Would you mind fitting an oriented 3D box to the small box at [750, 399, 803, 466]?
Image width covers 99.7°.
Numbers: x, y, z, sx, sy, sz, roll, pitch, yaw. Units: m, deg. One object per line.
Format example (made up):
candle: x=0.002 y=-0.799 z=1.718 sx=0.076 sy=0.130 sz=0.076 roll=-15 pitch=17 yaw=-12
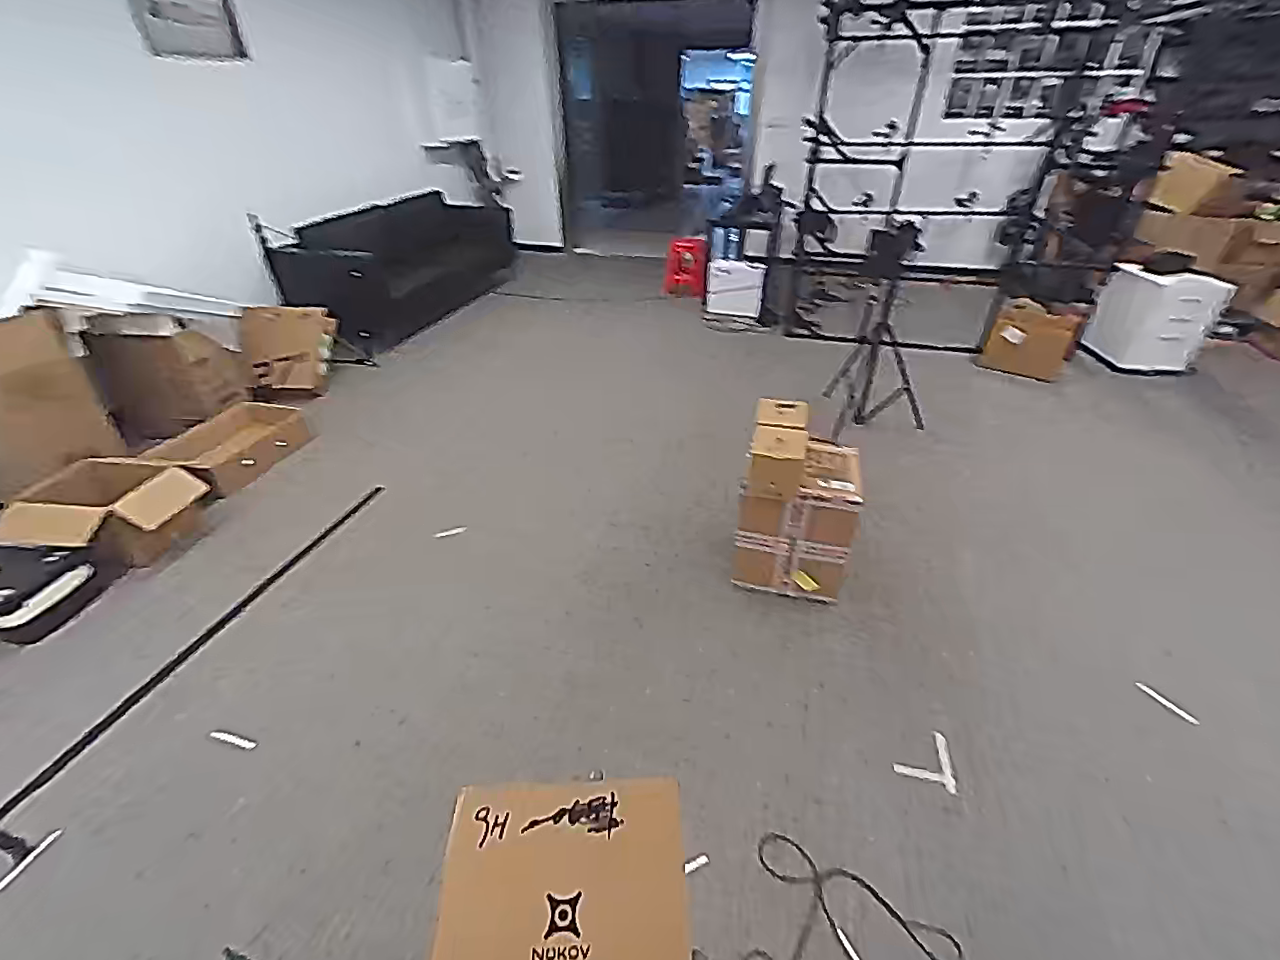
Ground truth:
small box: x=0.487 y=-0.171 z=1.931 sx=0.168 sy=0.176 sz=0.179 roll=6 pitch=38 yaw=14
